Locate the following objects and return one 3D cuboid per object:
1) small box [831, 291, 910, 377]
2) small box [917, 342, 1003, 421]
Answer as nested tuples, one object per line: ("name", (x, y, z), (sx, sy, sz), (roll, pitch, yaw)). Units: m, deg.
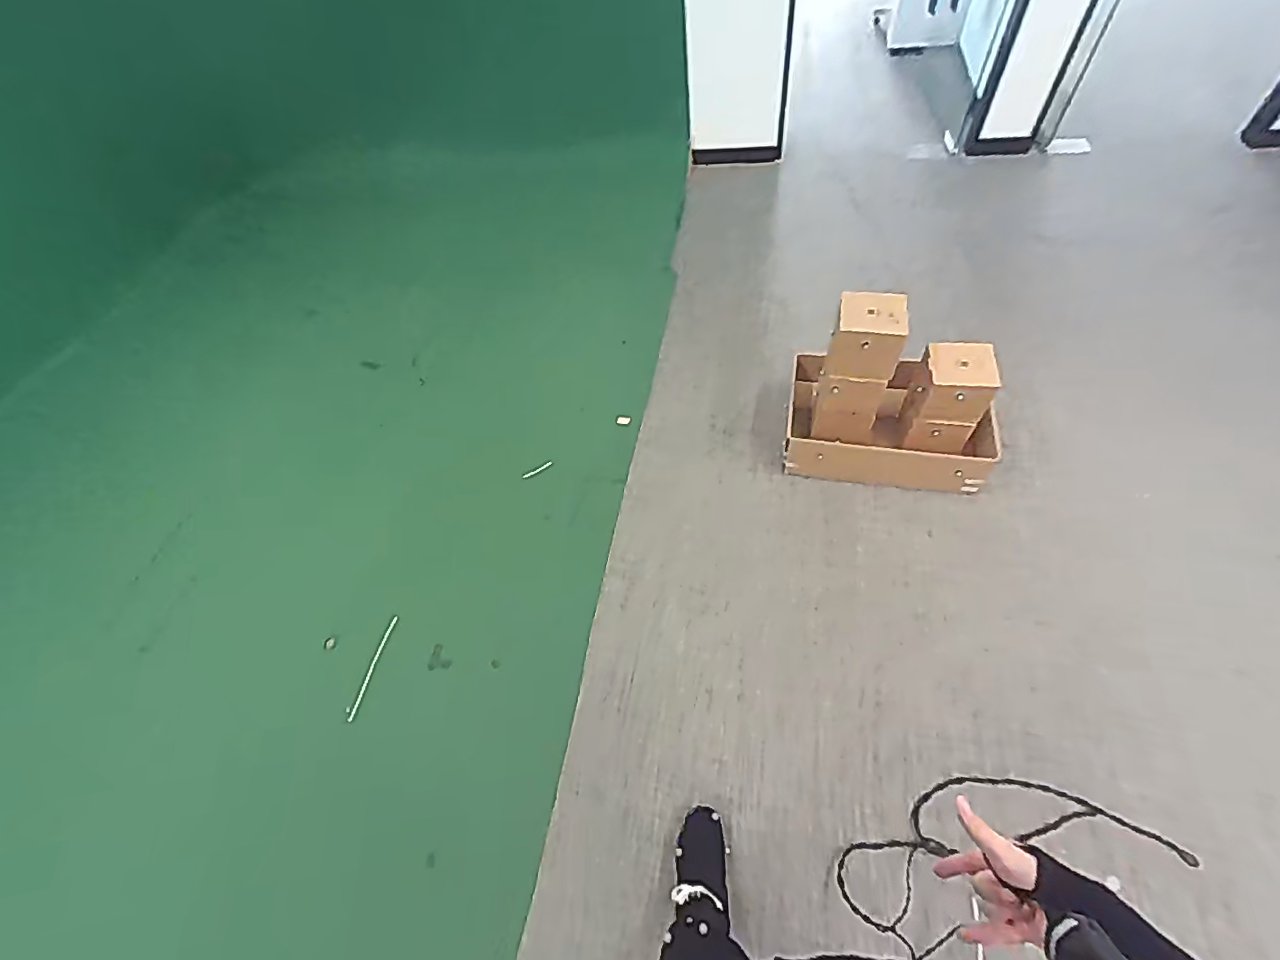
("small box", (0.644, -0.408, 1.525), (0.179, 0.176, 0.168), (8, 58, 13))
("small box", (0.936, -0.290, 1.605), (0.179, 0.176, 0.168), (5, 60, 12))
